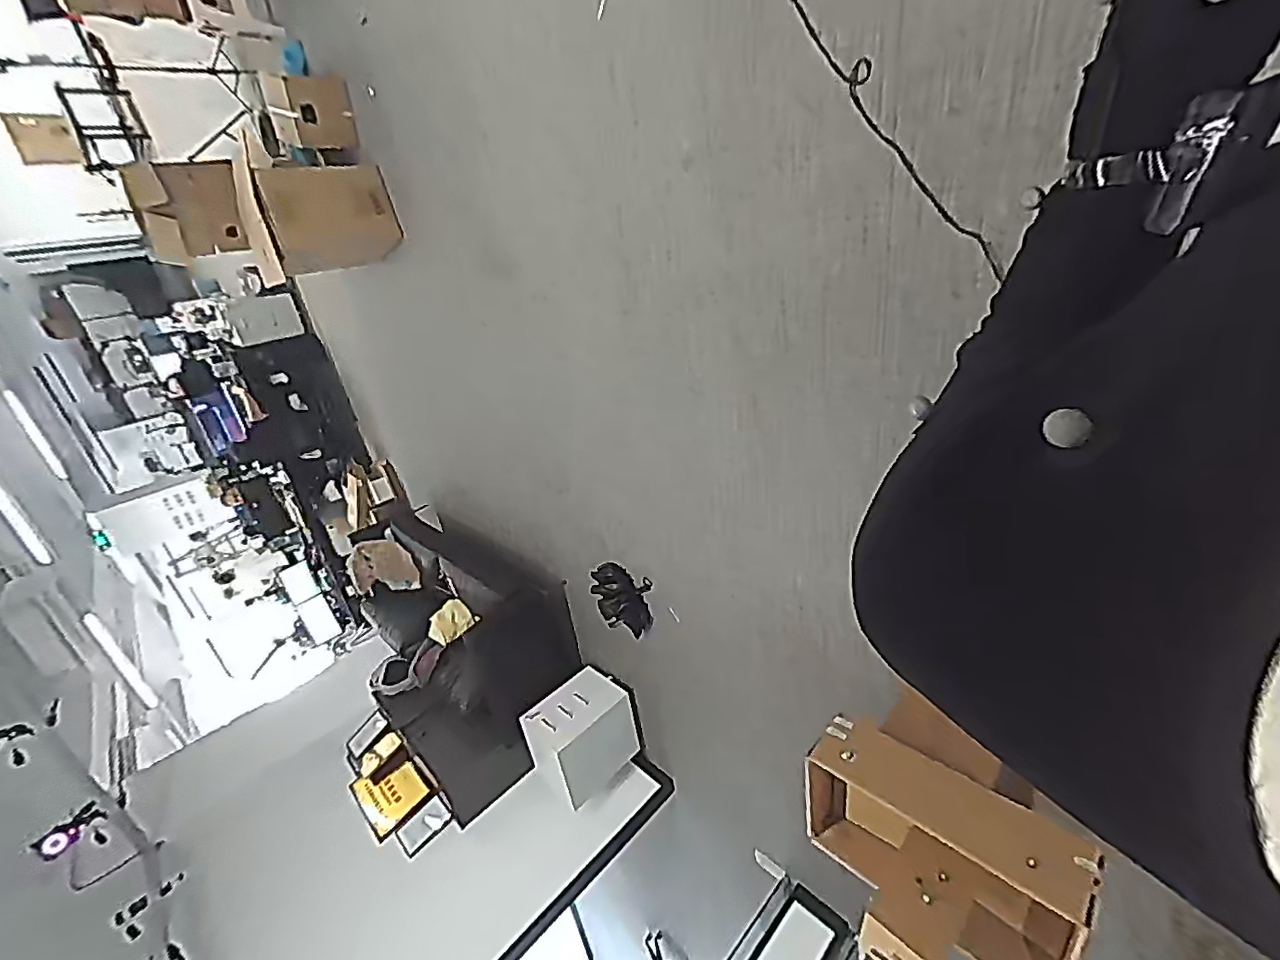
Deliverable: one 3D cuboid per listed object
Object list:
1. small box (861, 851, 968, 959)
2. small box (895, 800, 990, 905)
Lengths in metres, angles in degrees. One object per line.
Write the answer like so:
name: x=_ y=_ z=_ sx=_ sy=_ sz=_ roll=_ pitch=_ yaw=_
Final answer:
small box: x=0.645 y=1.036 z=1.272 sx=0.168 sy=0.176 sz=0.179 roll=23 pitch=130 yaw=41
small box: x=0.758 y=0.968 z=1.370 sx=0.168 sy=0.176 sz=0.179 roll=24 pitch=132 yaw=38
